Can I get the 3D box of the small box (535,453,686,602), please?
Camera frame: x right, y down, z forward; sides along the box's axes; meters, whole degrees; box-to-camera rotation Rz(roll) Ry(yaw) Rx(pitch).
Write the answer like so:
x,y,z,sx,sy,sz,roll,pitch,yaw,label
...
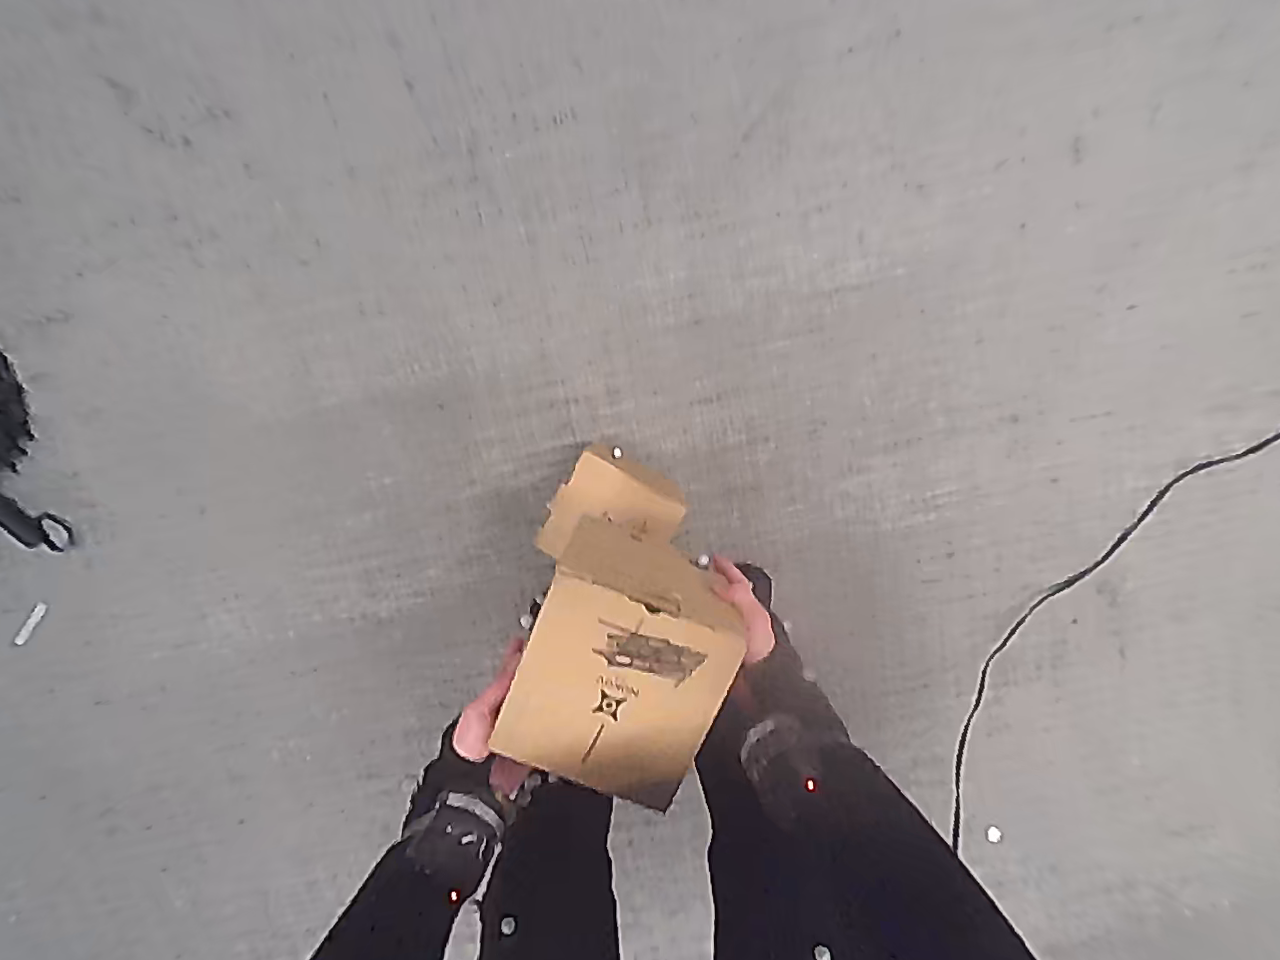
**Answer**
x,y,z,sx,sy,sz,roll,pitch,yaw,label
-0.044,0.066,0.882,0.179,0.176,0.168,28,99,-4,small box
